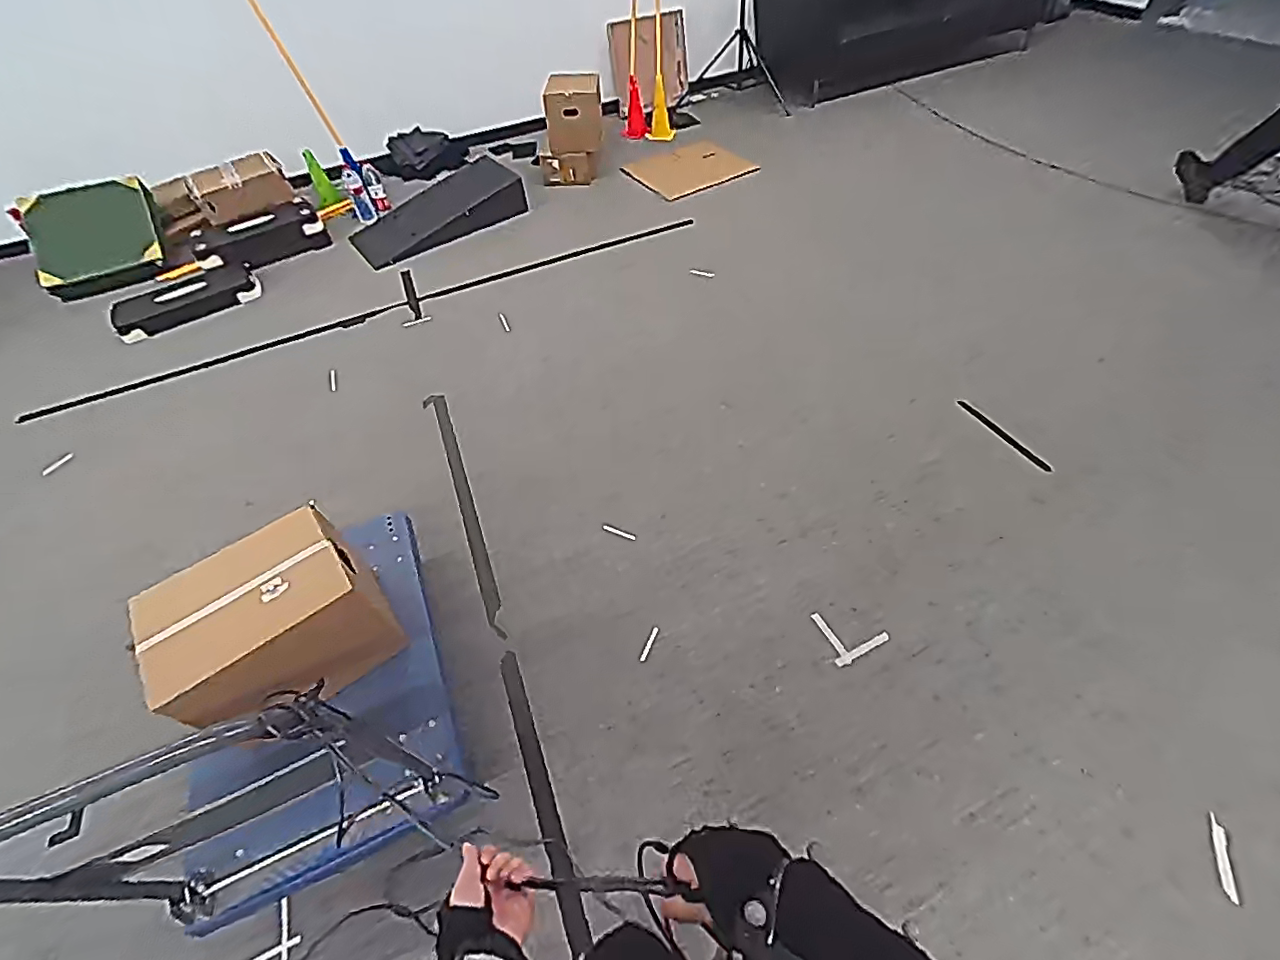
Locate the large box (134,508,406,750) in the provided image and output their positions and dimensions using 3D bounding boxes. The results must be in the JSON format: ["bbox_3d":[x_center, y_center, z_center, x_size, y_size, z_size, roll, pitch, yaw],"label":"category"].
[{"bbox_3d":[-0.856,0.351,1.291,0.408,0.320,0.320,-33,56,-21],"label":"large box"}]
